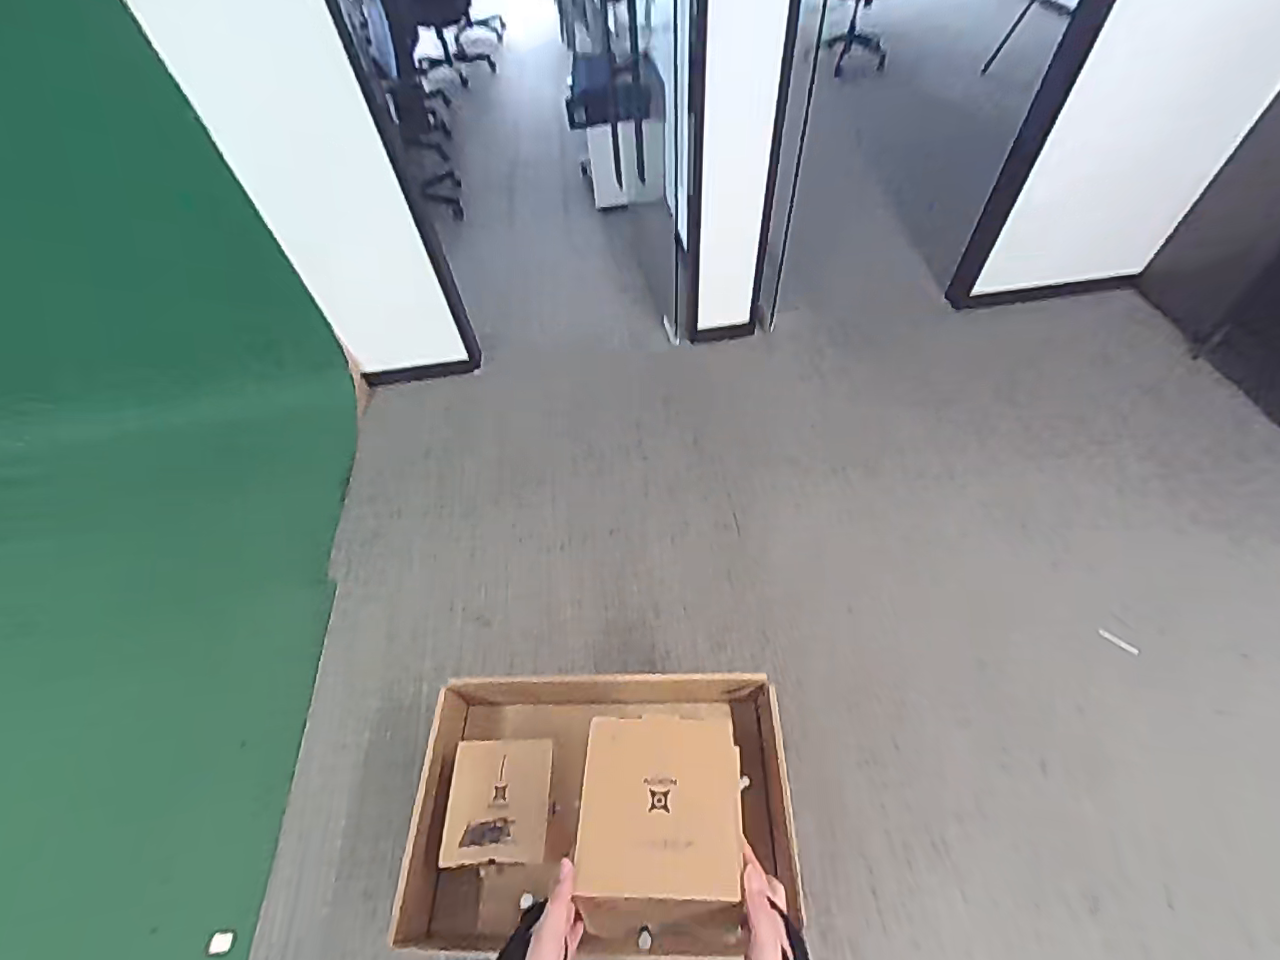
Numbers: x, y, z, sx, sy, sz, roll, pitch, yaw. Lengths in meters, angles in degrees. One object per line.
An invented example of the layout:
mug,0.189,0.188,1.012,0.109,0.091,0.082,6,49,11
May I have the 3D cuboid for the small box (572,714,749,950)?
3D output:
small box,0.024,0.390,0.606,0.168,0.176,0.179,1,40,3
